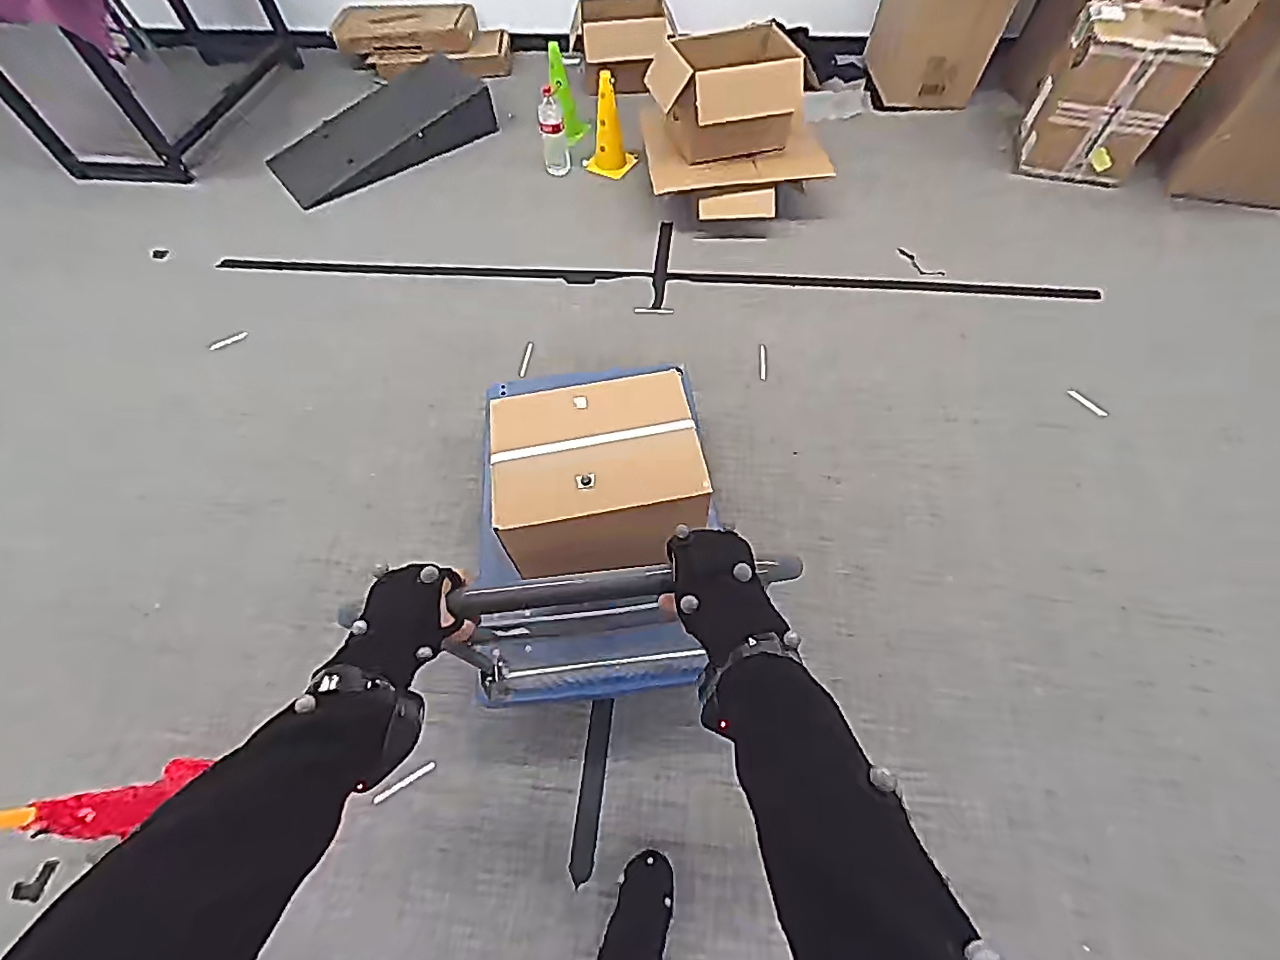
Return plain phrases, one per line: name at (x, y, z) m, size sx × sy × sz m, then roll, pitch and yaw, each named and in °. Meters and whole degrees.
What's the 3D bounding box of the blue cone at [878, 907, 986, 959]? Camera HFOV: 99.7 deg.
blue cone at (0.553, 0.834, 0.872) m, size 0.193 × 0.380 × 0.192 m, roll 1°, pitch 58°, yaw 1°
